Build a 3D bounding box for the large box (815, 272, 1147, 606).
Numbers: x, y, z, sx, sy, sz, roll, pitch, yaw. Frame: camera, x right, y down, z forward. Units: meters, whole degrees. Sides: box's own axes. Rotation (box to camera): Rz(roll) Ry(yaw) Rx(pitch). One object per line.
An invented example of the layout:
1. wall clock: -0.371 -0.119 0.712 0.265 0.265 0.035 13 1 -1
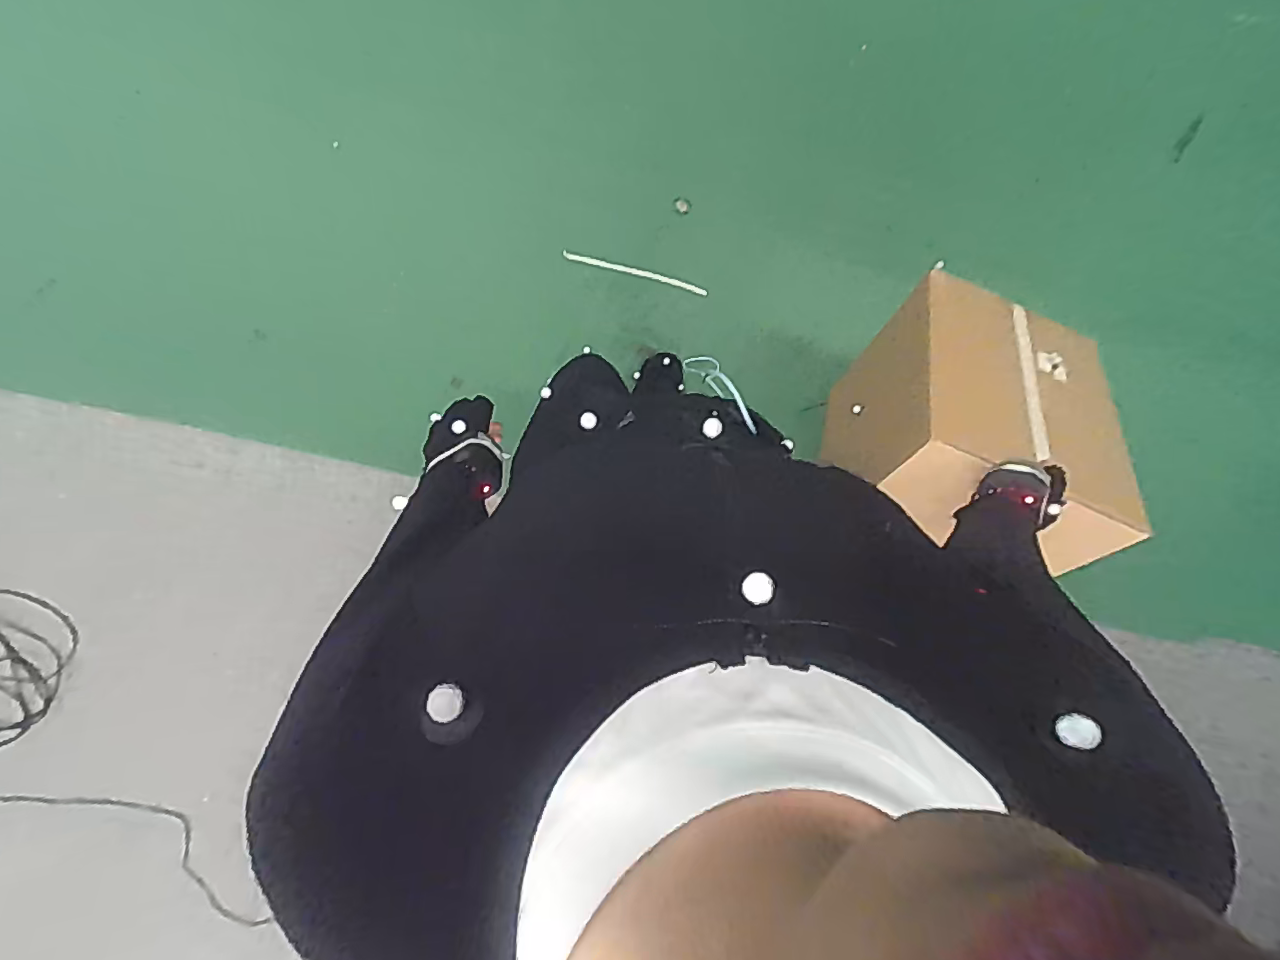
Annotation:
1. large box: 0.525 -0.062 0.915 0.320 0.408 0.320 24 144 -2
